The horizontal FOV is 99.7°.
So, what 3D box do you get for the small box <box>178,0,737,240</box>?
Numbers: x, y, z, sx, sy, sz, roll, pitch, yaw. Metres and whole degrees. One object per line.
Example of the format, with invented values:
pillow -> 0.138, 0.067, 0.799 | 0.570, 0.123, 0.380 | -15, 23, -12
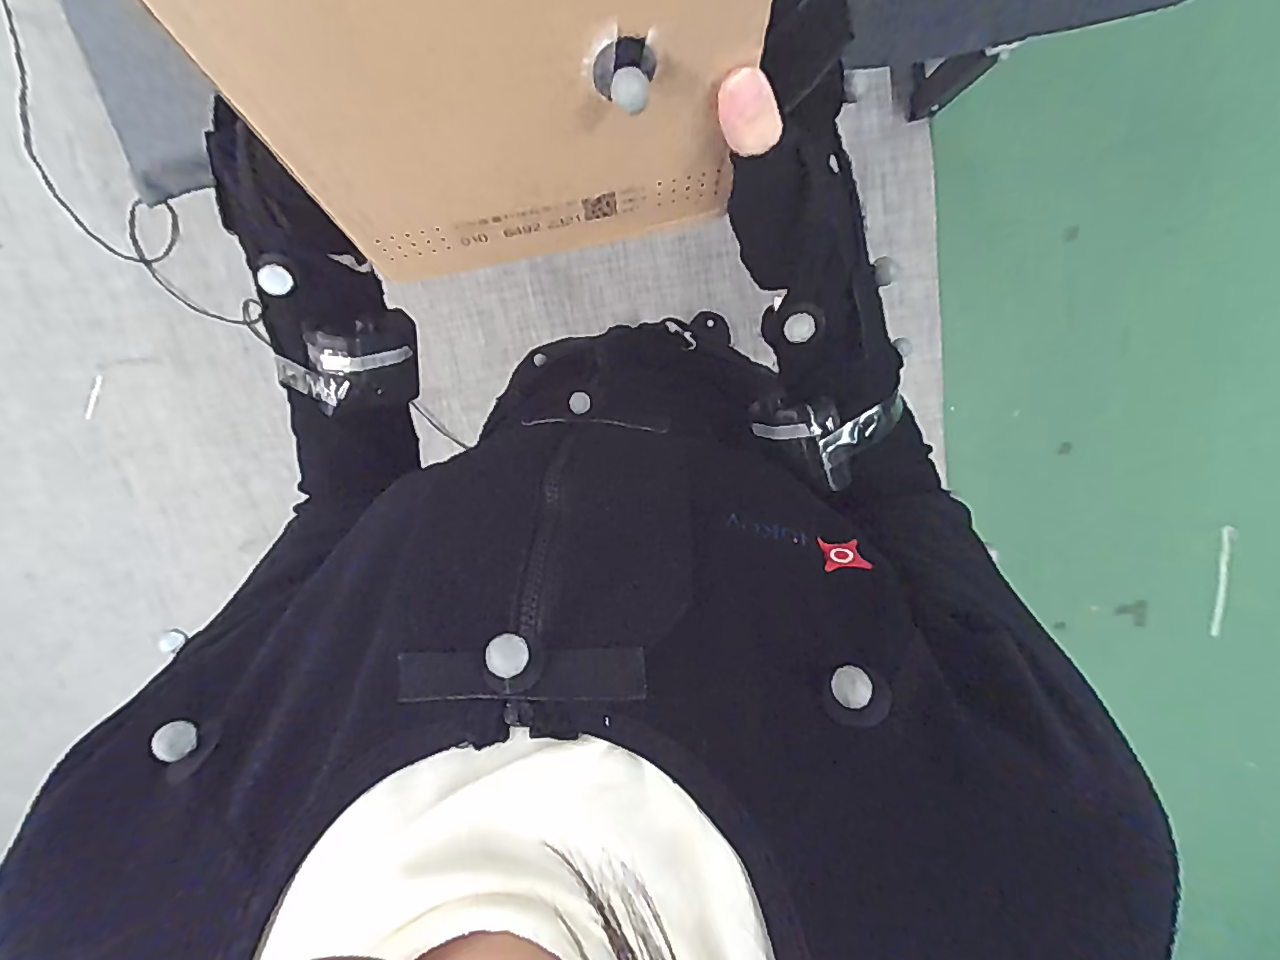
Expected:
small box -> -0.061, -0.215, 0.198 | 0.168, 0.176, 0.179 | -13, 79, -2
